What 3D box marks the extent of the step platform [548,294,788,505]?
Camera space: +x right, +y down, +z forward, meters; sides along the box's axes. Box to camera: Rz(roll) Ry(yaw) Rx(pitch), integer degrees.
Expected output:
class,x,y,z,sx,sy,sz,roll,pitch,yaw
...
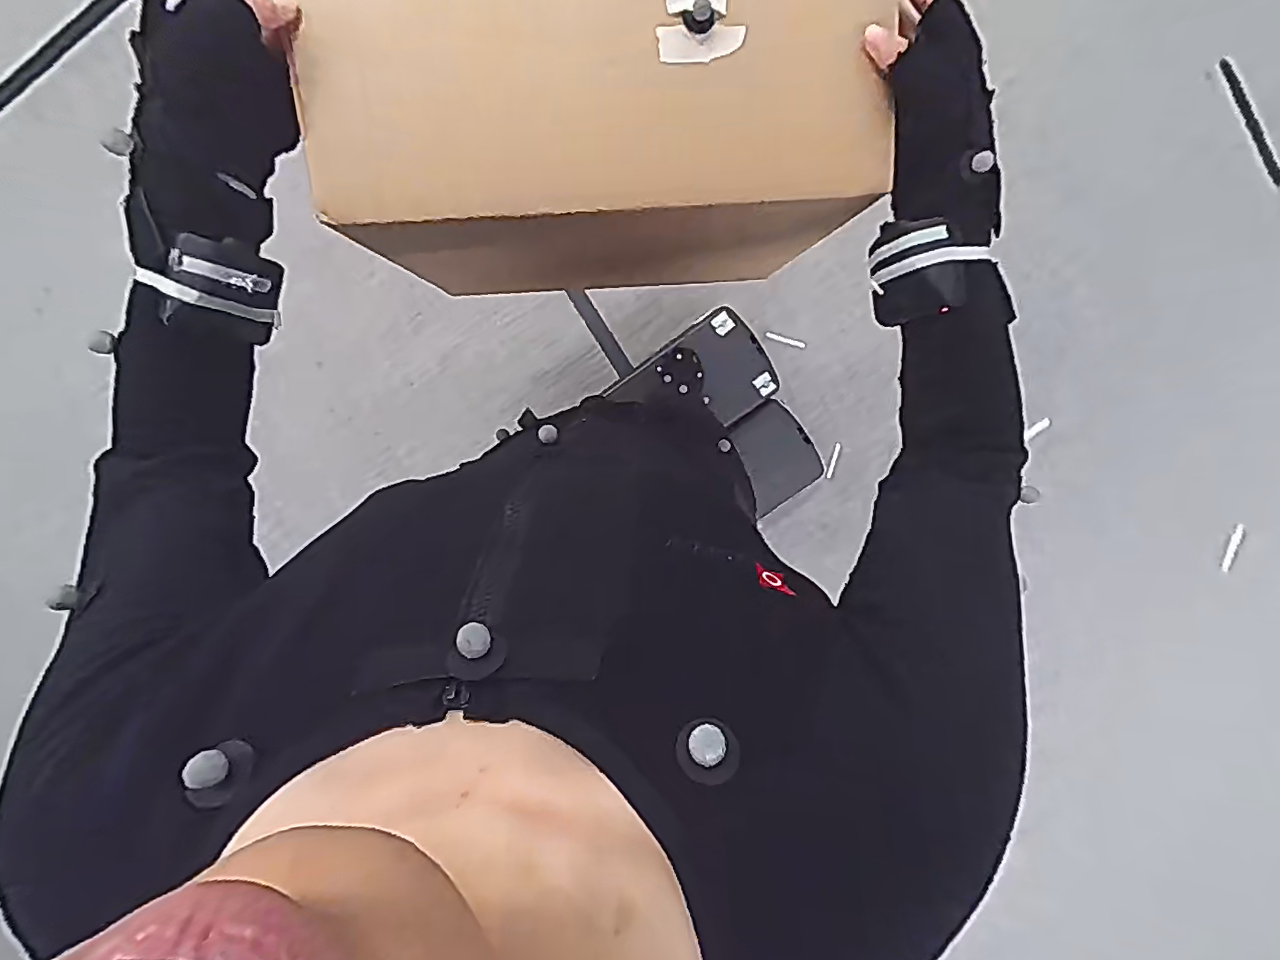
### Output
class,x,y,z,sx,sy,sz,roll,pitch,yaw
step platform,0.072,-0.223,1.542,0.684,0.204,0.286,-36,98,5

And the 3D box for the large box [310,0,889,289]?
class,x,y,z,sx,sy,sz,roll,pitch,yaw
large box,-0.035,-0.378,0.513,0.408,0.320,0.320,-4,101,-3
